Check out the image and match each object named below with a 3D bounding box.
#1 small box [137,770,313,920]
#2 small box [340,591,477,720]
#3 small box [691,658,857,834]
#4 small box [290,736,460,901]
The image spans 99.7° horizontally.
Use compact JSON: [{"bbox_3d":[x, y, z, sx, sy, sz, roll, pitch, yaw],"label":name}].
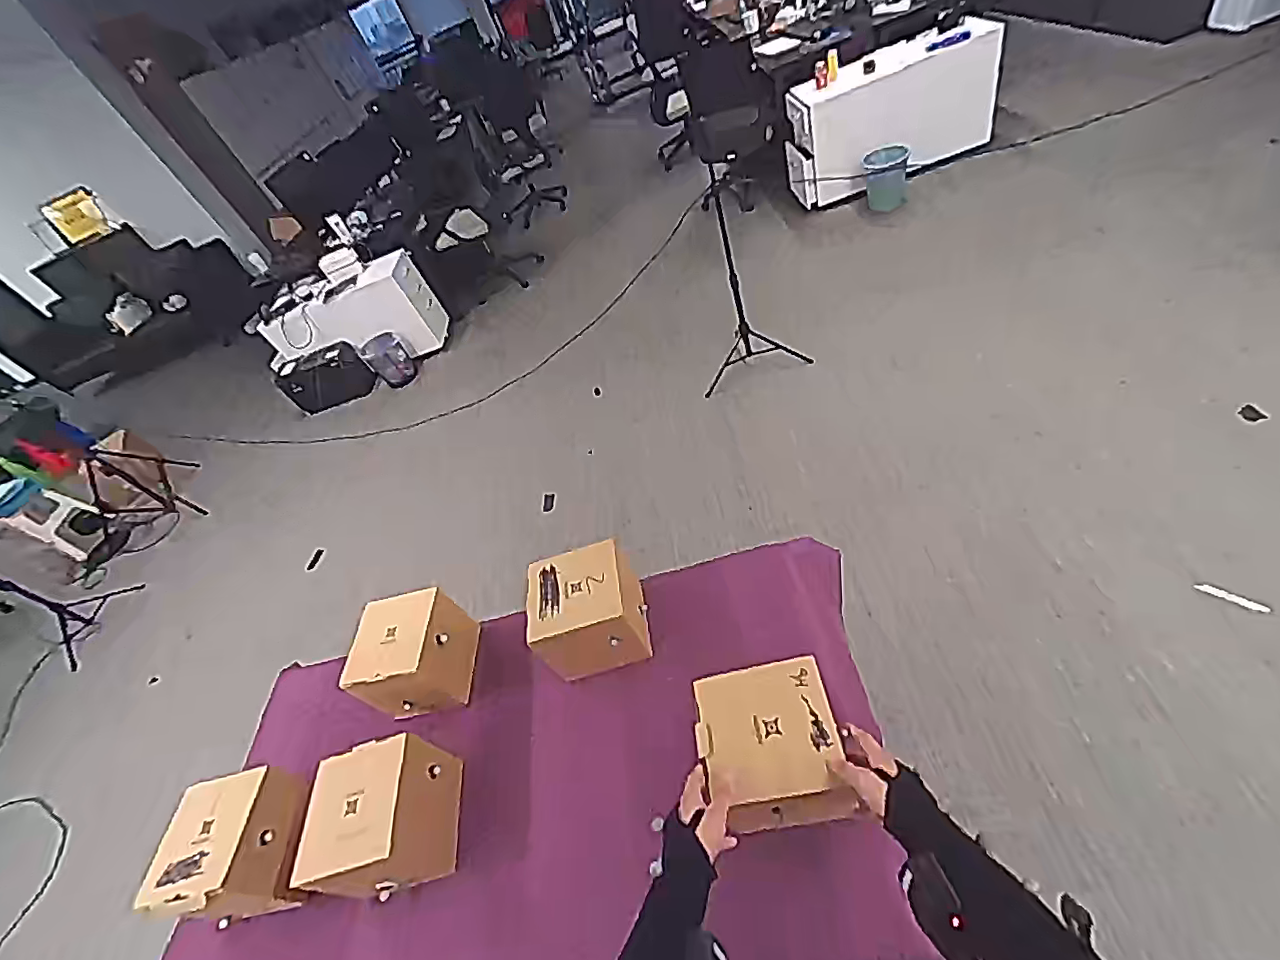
[{"bbox_3d":[-0.671,0.626,0.921,0.168,0.176,0.179,-18,43,8],"label":"small box"},{"bbox_3d":[-0.445,0.350,1.073,0.168,0.176,0.179,-14,46,11],"label":"small box"},{"bbox_3d":[0.187,0.378,0.758,0.179,0.176,0.168,-17,45,12],"label":"small box"},{"bbox_3d":[-0.411,0.550,0.876,0.168,0.176,0.179,-21,44,7],"label":"small box"}]
